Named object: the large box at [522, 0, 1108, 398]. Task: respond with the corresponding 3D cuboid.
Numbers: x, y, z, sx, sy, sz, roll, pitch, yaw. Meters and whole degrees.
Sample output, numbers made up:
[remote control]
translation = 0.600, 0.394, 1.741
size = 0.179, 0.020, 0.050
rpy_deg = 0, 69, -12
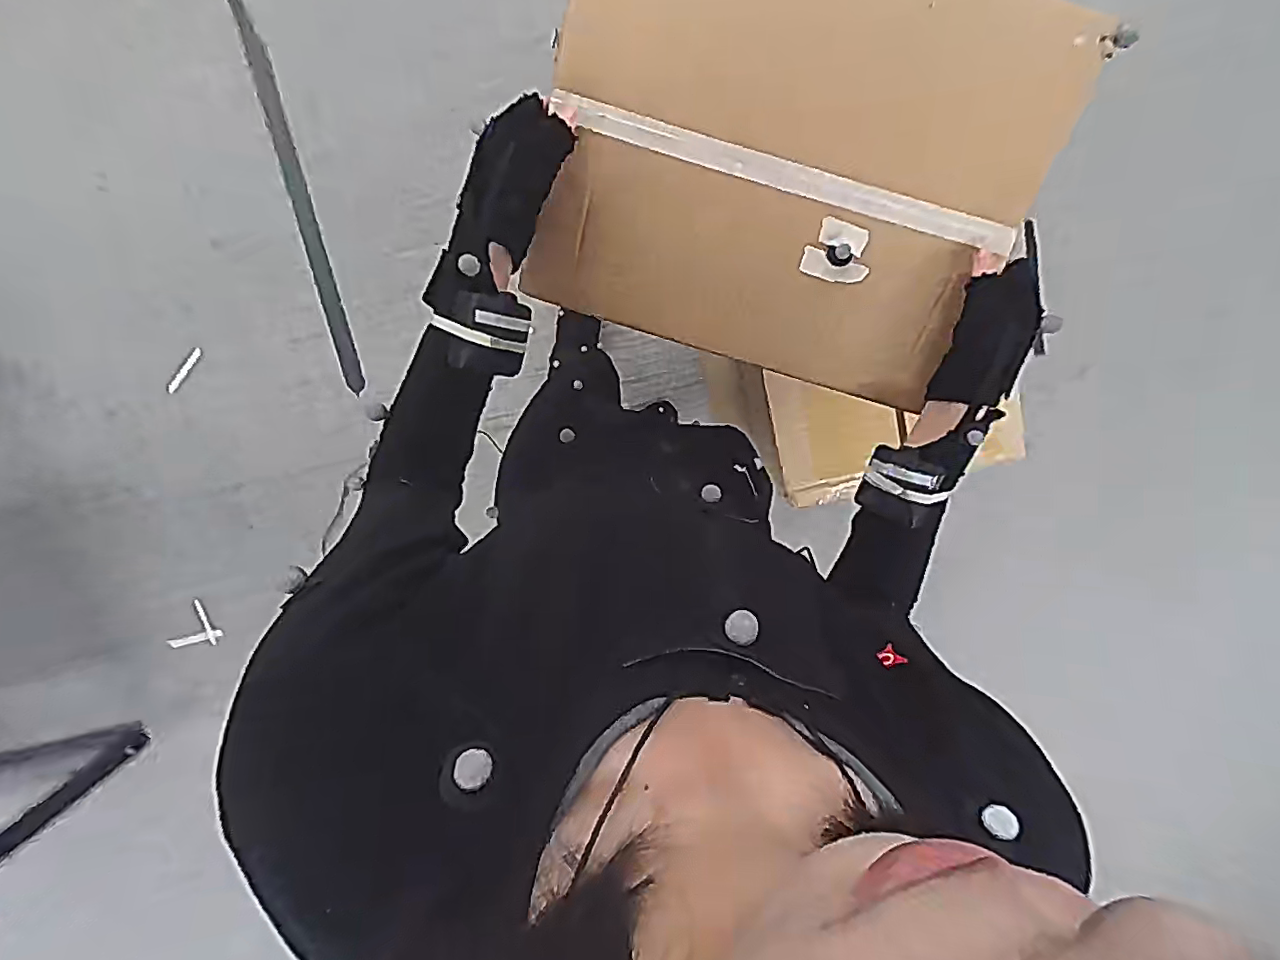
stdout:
[large box]
translation = 0.125, -0.313, 0.583
size = 0.408, 0.320, 0.320
rpy_deg = 15, 113, -2
